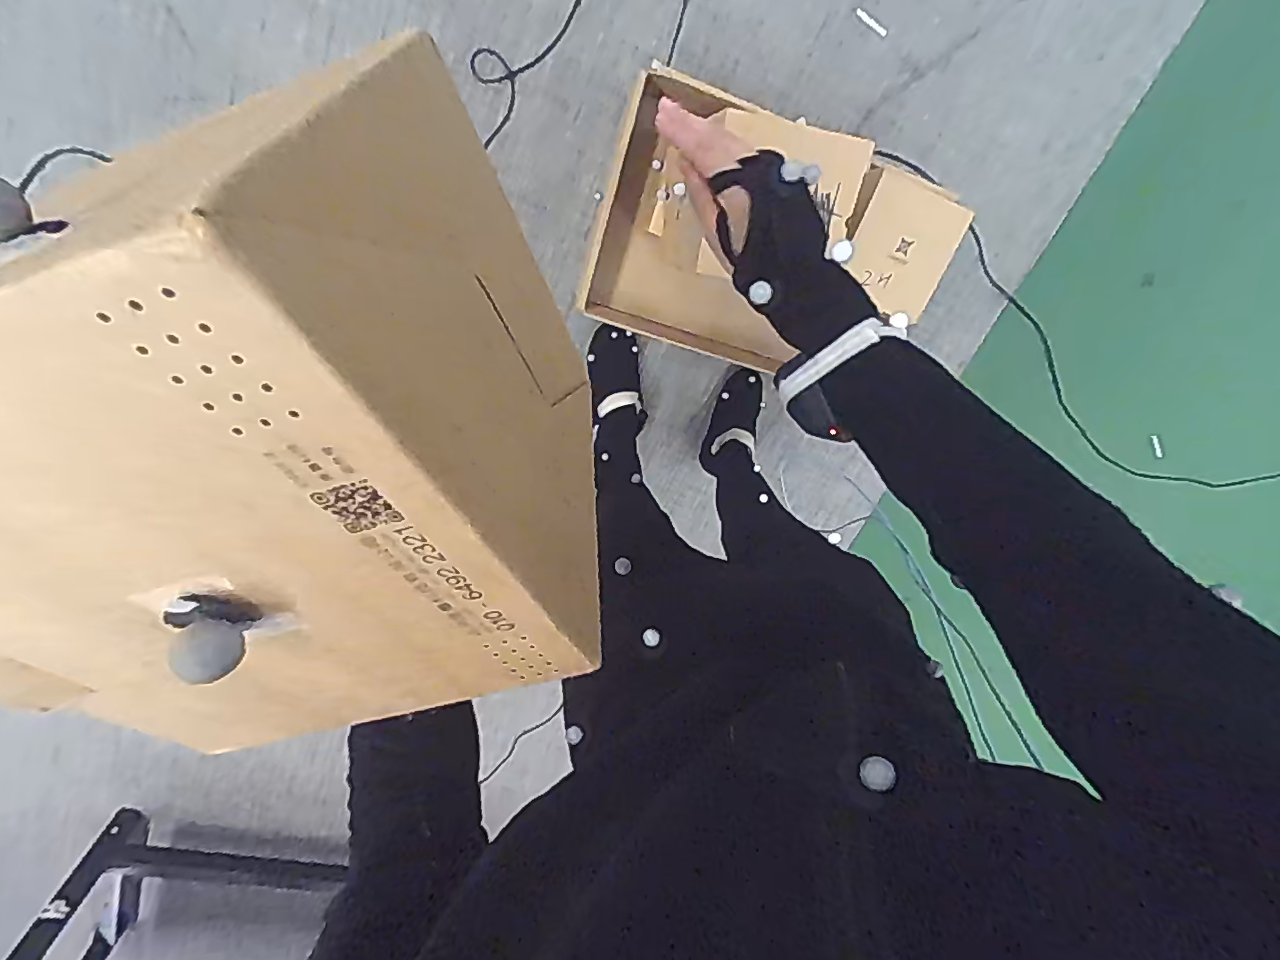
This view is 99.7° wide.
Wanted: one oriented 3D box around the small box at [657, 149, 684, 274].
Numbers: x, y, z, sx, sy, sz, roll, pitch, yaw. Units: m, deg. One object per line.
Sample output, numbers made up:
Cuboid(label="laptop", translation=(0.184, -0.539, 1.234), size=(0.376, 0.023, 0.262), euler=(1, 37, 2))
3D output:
Cuboid(label="small box", translation=(0.131, -0.409, 0.825), size=(0.179, 0.176, 0.168), euler=(-2, 117, -8))

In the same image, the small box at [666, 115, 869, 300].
Cuboid(label="small box", translation=(0.143, -0.335, 0.678), size=(0.179, 0.176, 0.168), euler=(4, 116, -11))

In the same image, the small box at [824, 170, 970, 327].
Cuboid(label="small box", translation=(0.373, -0.372, 0.876), size=(0.168, 0.176, 0.179), euler=(16, 113, -15))

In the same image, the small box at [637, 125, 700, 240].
Cuboid(label="small box", translation=(0.105, -0.496, 0.960), size=(0.179, 0.176, 0.168), euler=(13, 114, -16))
